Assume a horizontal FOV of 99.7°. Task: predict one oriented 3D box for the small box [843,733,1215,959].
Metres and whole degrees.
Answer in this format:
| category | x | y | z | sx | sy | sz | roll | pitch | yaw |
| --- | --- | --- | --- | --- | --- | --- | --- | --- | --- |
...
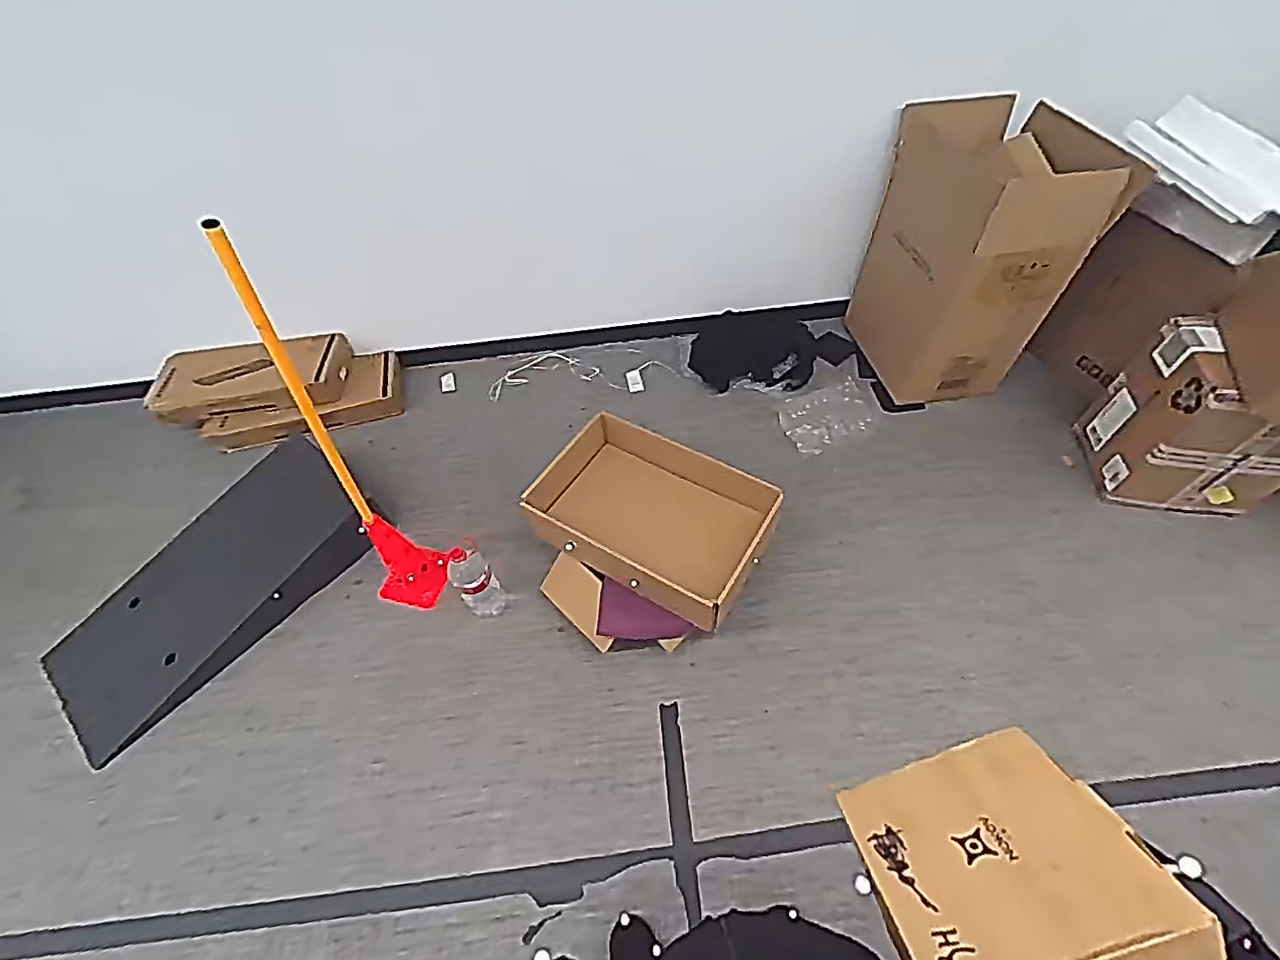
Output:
| category | x | y | z | sx | sy | sz | roll | pitch | yaw |
| --- | --- | --- | --- | --- | --- | --- | --- | --- | --- |
| small box | 0.296 | 0.351 | 0.433 | 0.179 | 0.176 | 0.168 | -23 | 14 | 4 |
